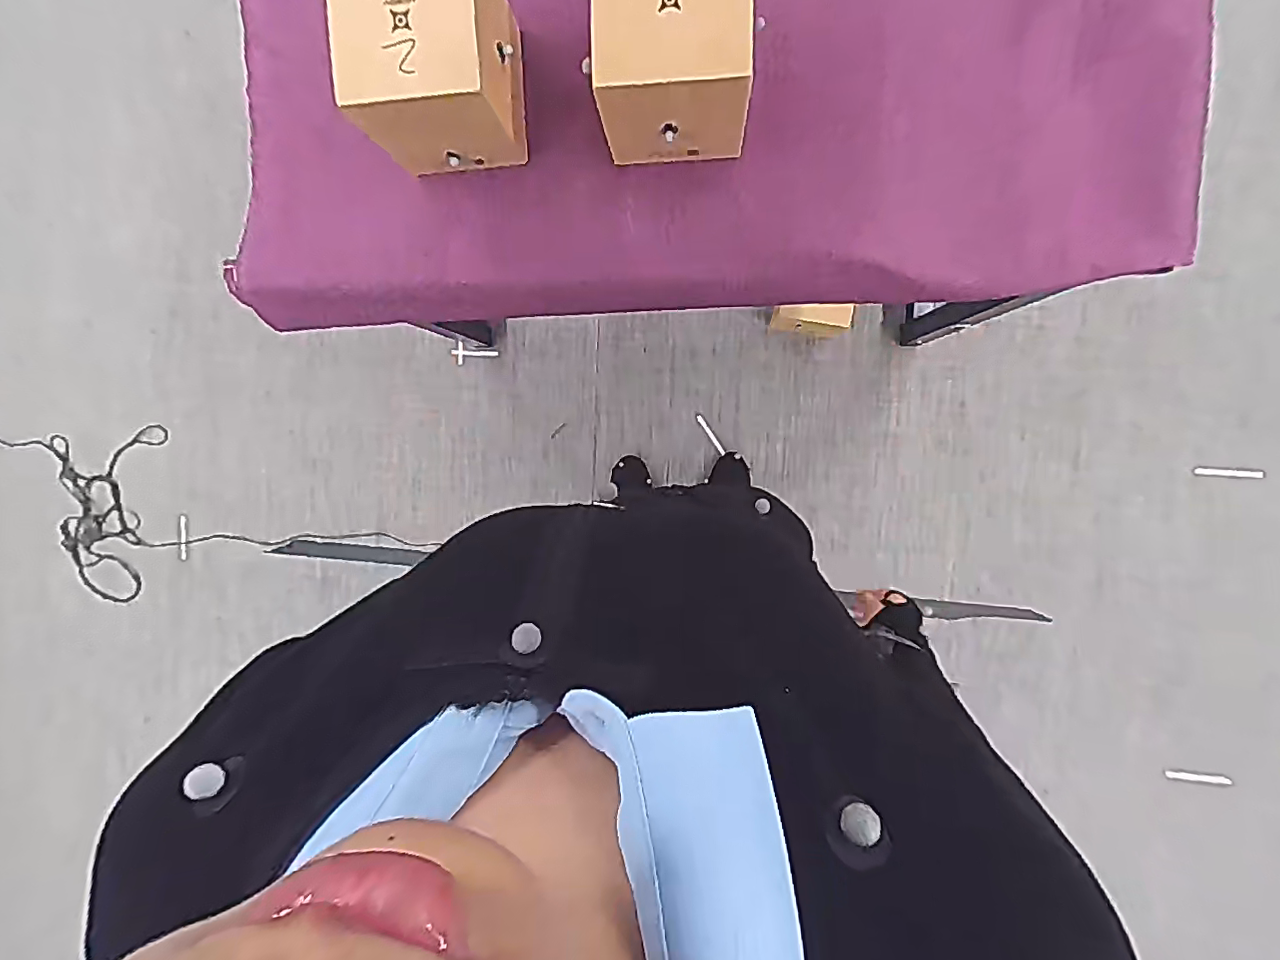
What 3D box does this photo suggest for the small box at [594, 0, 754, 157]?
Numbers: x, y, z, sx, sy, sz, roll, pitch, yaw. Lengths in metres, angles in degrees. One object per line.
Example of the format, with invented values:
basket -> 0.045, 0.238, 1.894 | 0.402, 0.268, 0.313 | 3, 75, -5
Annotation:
small box -> 0.042, -0.498, 0.626 | 0.168, 0.176, 0.179 | 1, 95, 5

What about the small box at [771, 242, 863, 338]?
small box -> 0.425, -0.457, 1.329 | 0.168, 0.176, 0.179 | 11, 96, 5
